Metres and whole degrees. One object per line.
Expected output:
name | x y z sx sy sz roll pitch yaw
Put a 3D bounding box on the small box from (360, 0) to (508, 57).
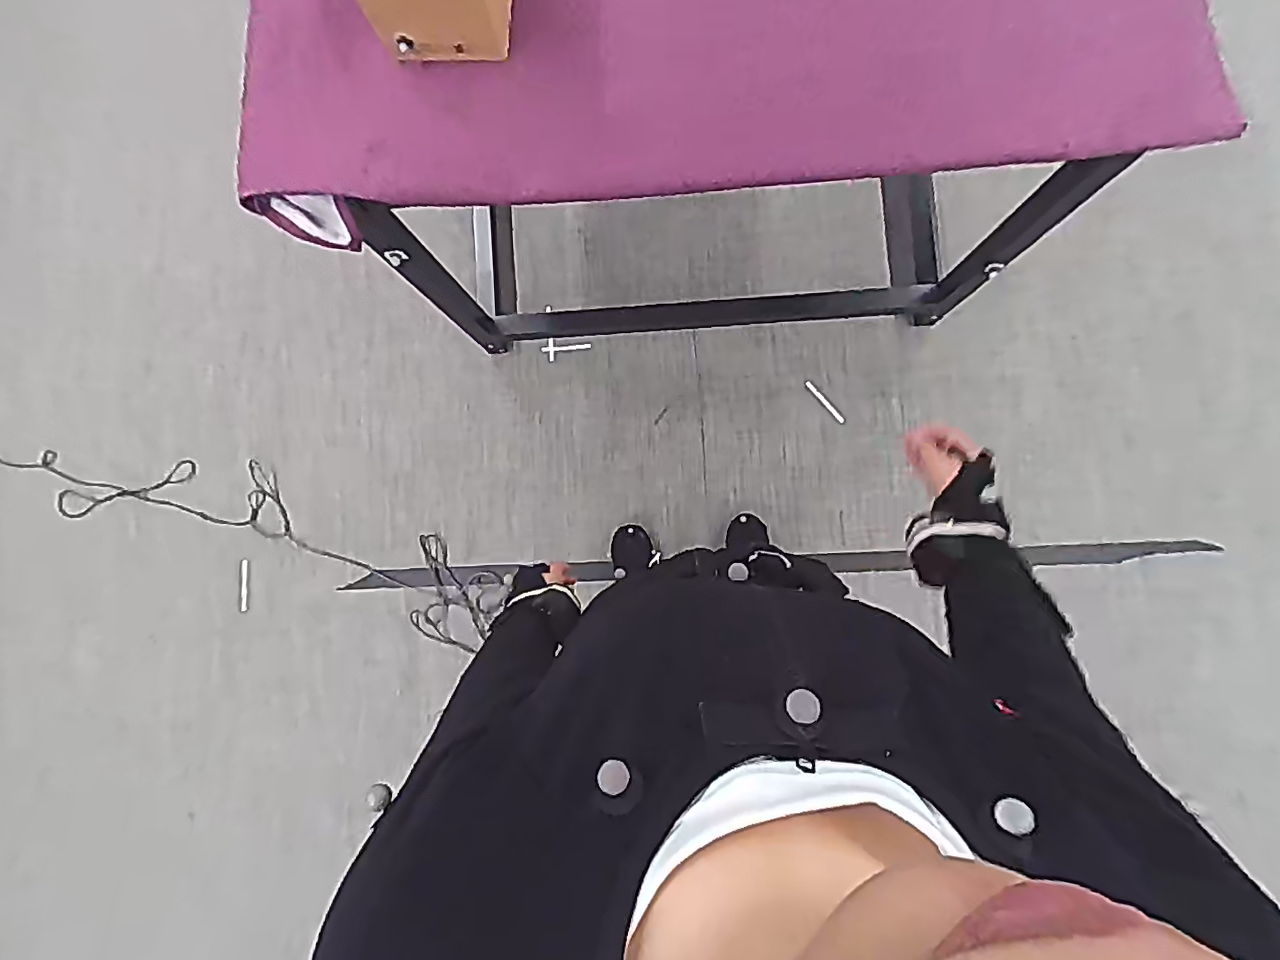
small box | -0.267 -0.676 0.679 0.168 0.176 0.179 3 85 4
